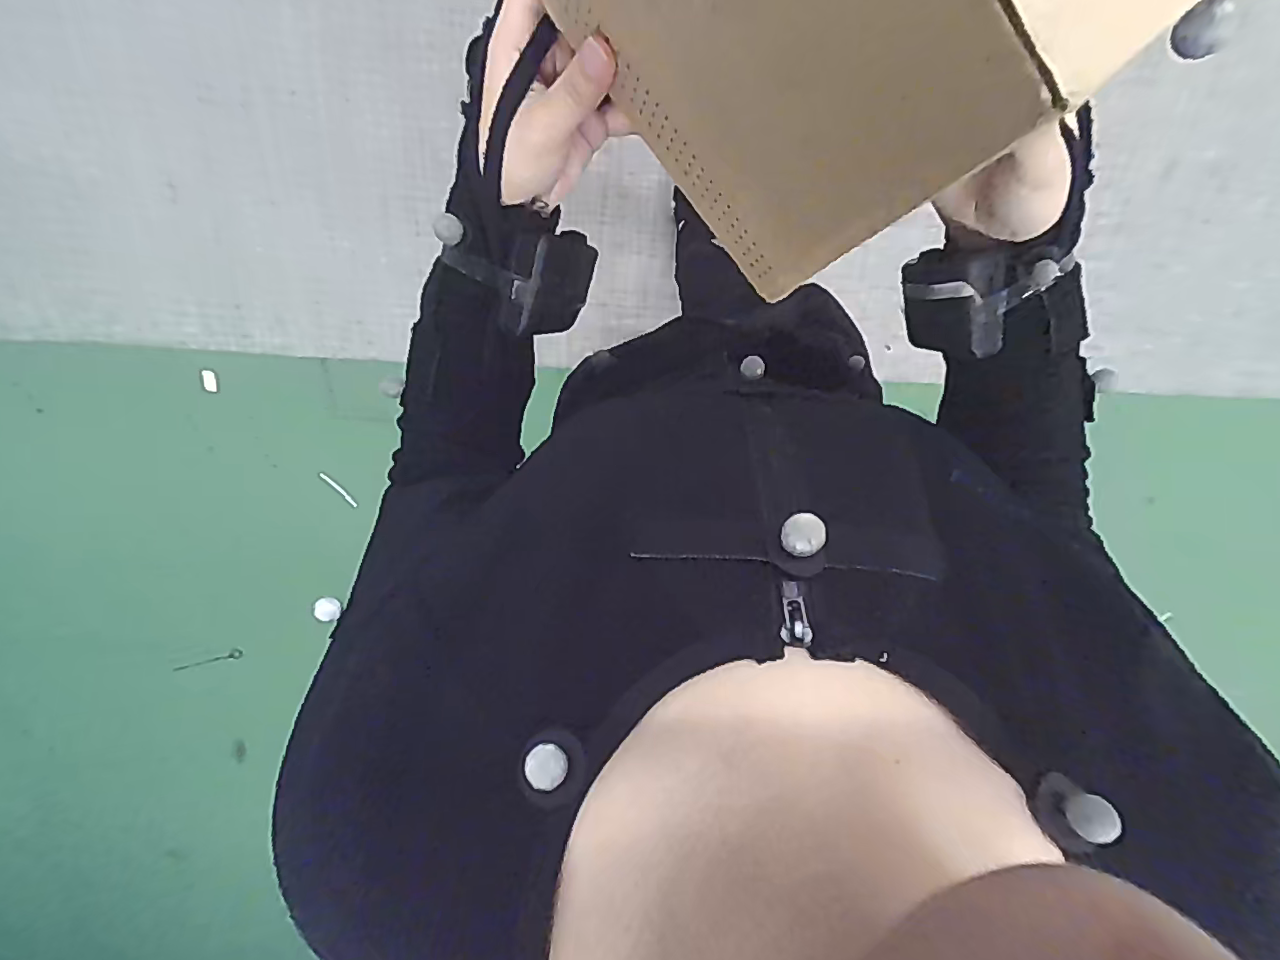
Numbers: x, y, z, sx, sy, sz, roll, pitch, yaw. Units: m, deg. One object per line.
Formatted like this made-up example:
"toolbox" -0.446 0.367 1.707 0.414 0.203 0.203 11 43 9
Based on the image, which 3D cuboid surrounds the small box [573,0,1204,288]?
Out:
"small box" 0.086 -0.198 0.185 0.168 0.176 0.179 -41 98 0
